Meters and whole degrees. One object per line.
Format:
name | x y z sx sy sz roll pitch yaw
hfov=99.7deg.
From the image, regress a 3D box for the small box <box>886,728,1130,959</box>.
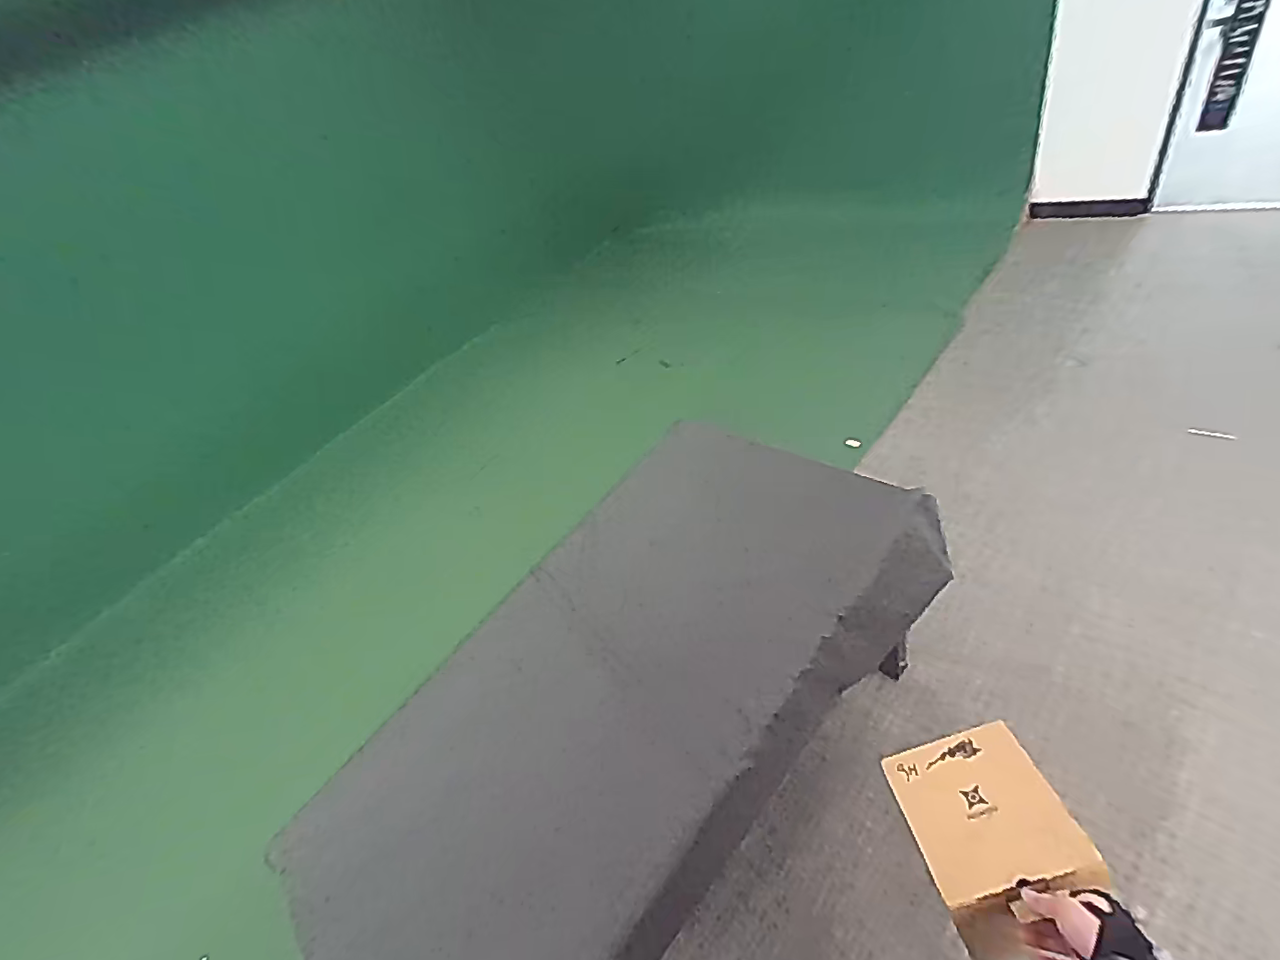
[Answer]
small box | 0.447 0.458 0.670 0.168 0.176 0.179 -29 20 9
